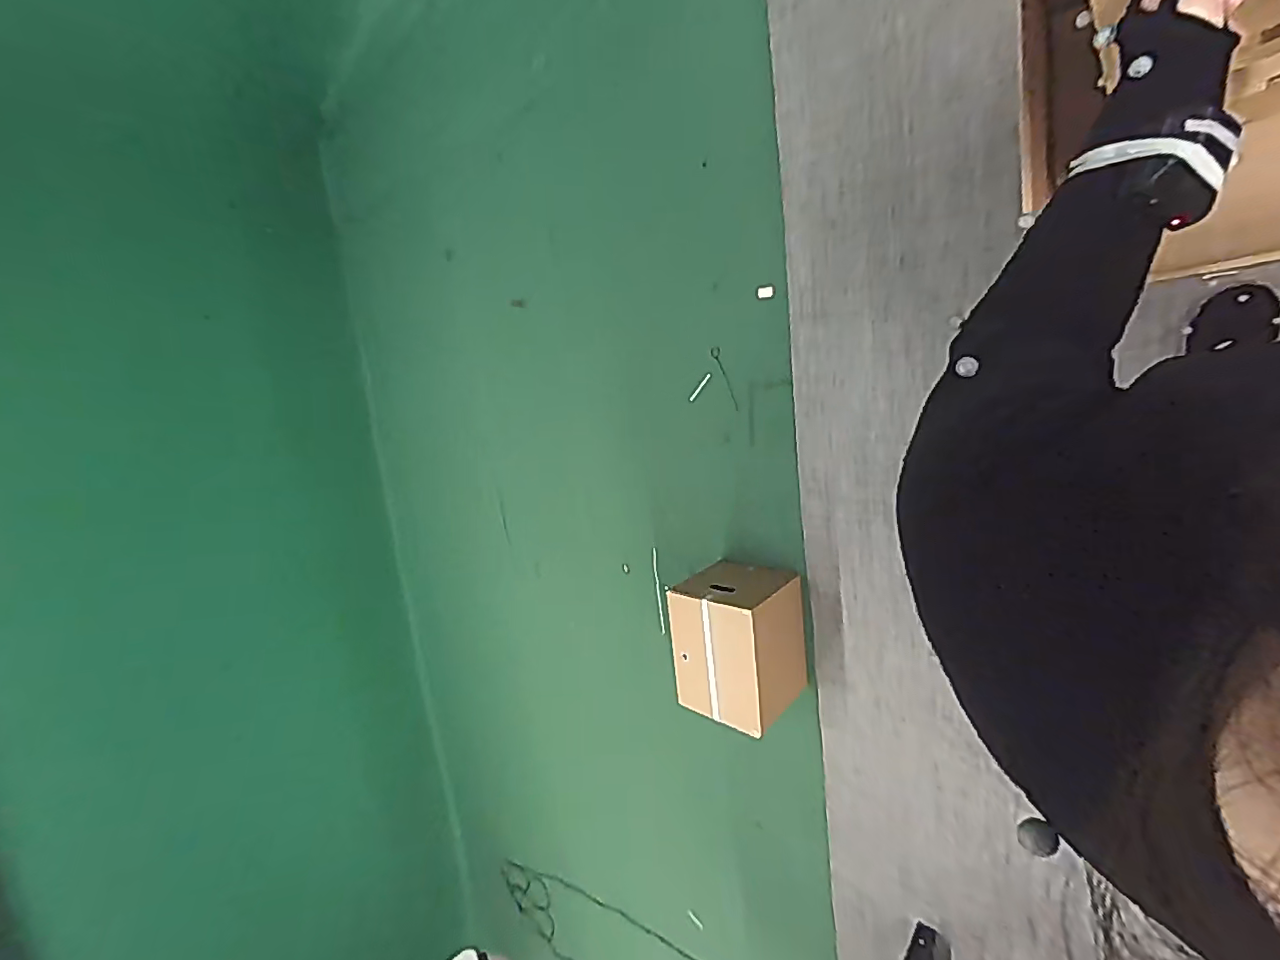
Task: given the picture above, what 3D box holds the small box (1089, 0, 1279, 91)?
[{"bbox_3d":[0.489,-0.473,0.447,0.168,0.176,0.179,-2,75,46],"label":"small box"}]
